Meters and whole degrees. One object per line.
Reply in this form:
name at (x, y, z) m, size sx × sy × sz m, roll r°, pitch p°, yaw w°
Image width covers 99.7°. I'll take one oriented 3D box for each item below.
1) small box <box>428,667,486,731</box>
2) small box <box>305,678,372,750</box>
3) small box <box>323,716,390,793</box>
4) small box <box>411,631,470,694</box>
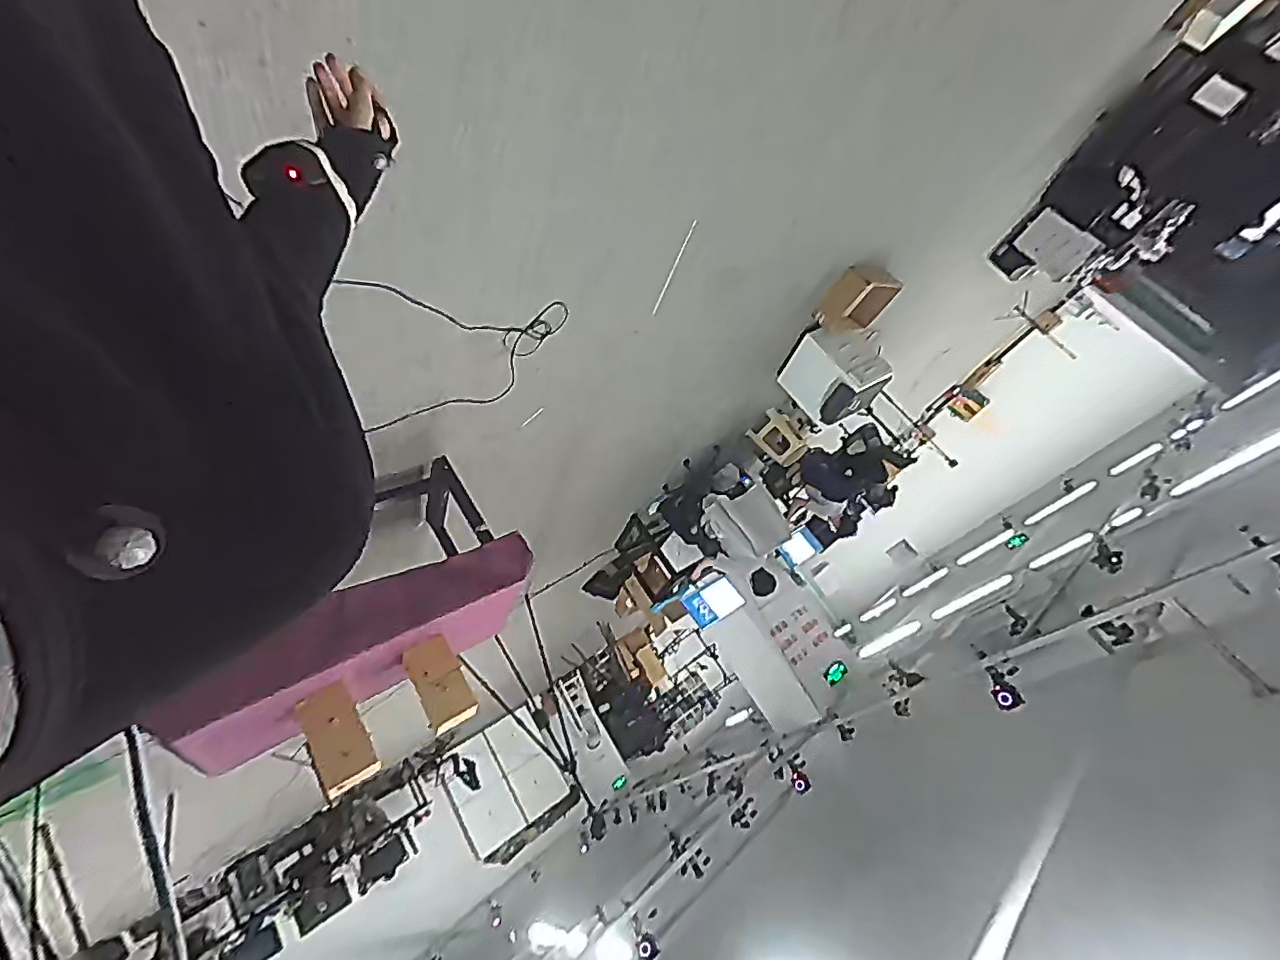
small box at (-0.750, 0.888, 2.203) m, size 0.168 × 0.176 × 0.179 m, roll -22°, pitch 157°, yaw -34°
small box at (-1.127, 0.873, 2.026) m, size 0.179 × 0.176 × 0.168 m, roll -21°, pitch 155°, yaw -36°
small box at (-1.036, 0.998, 1.973) m, size 0.179 × 0.176 × 0.168 m, roll -23°, pitch 156°, yaw -35°
small box at (-0.834, 0.757, 2.258) m, size 0.179 × 0.176 × 0.168 m, roll -22°, pitch 156°, yaw -34°
